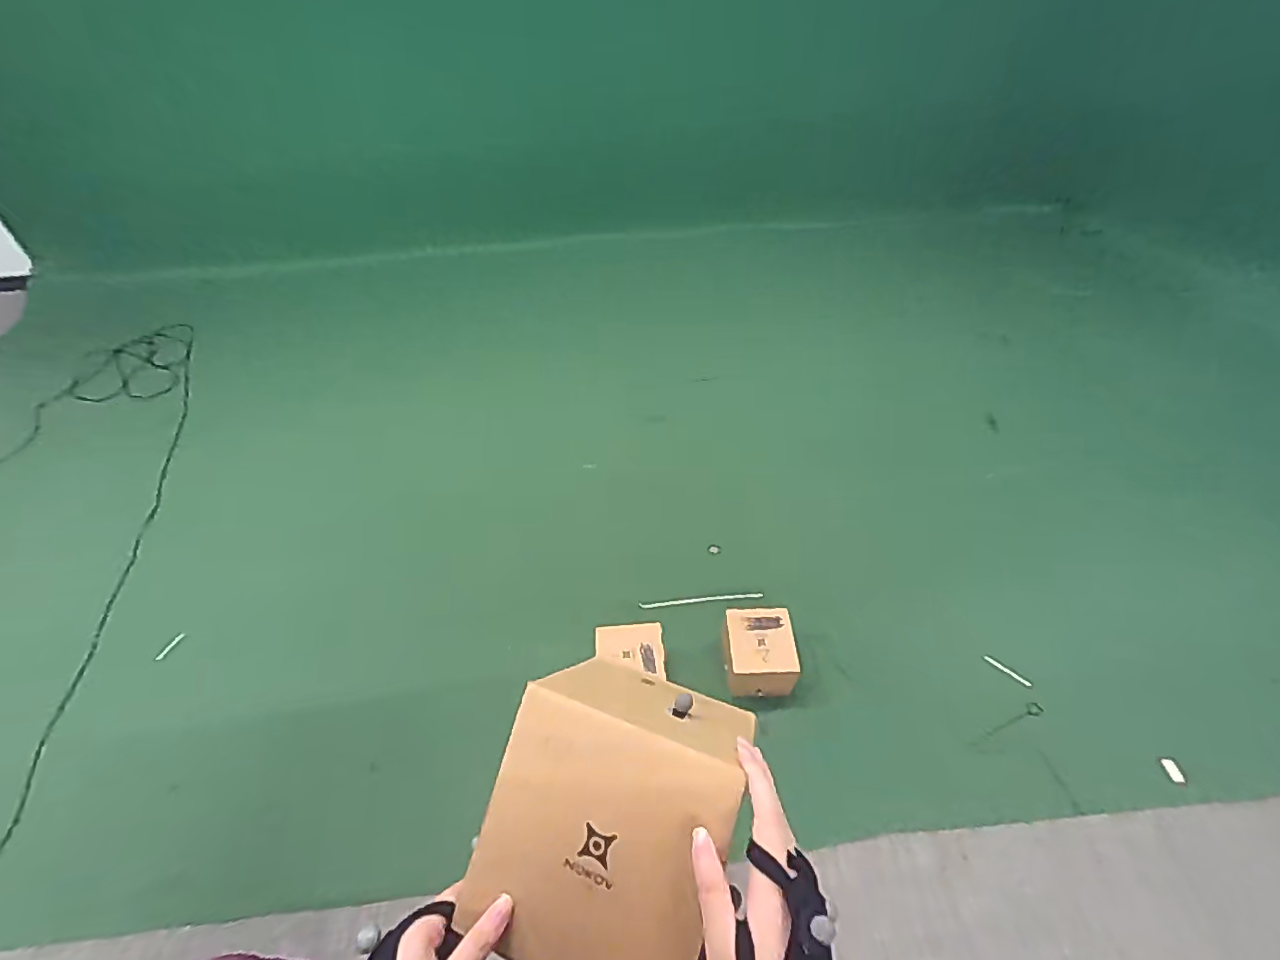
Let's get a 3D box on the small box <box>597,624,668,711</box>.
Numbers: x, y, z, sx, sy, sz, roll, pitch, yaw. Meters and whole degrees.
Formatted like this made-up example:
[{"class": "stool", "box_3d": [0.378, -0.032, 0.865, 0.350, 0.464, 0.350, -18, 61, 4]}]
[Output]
[{"class": "small box", "box_3d": [-0.018, 0.498, 1.430, 0.179, 0.176, 0.168, -5, 48, 1]}]
